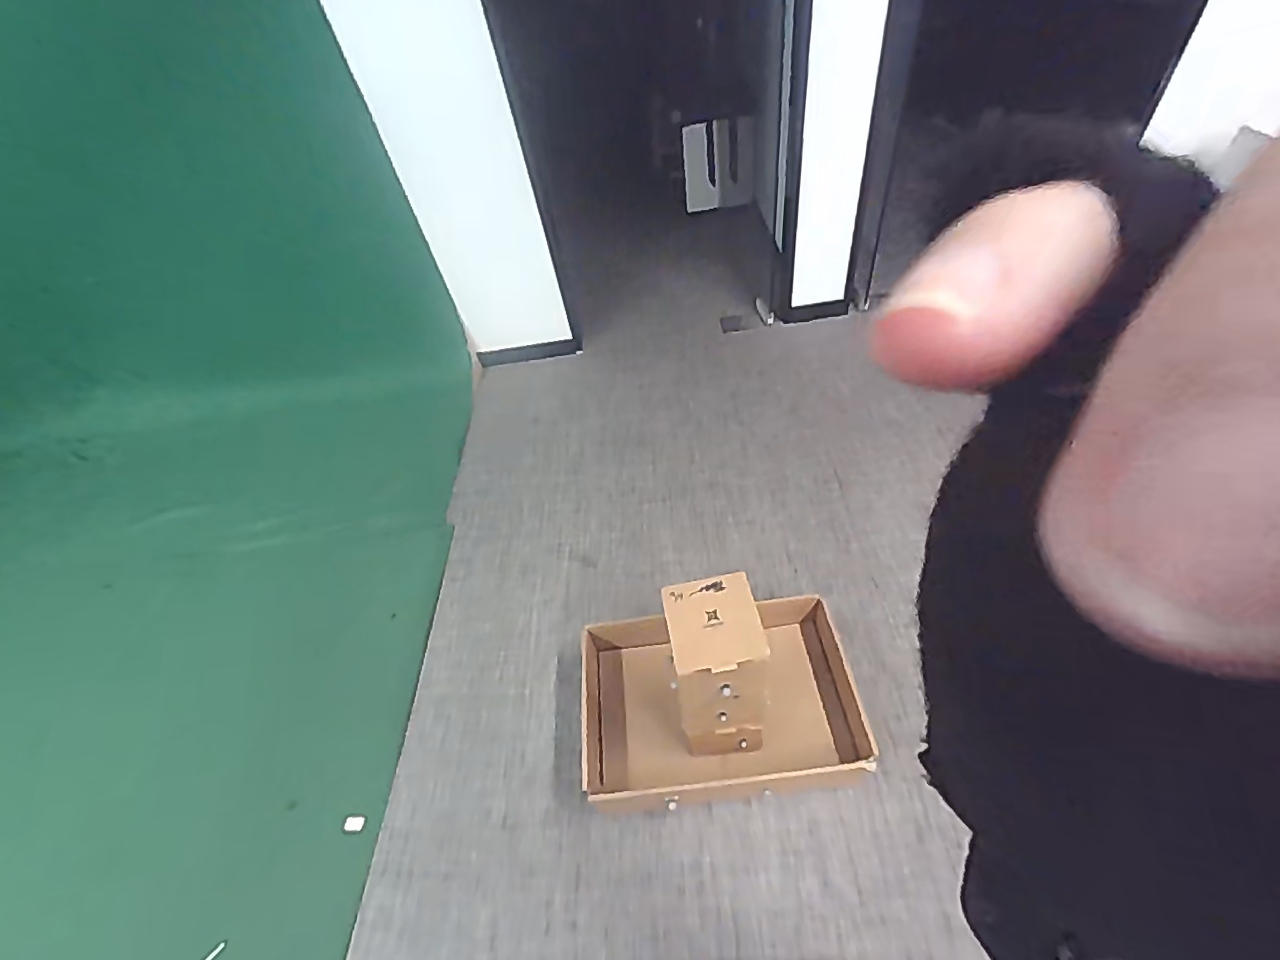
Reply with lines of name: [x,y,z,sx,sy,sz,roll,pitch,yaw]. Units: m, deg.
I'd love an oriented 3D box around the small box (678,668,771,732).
small box: [0.165,0.417,1.152,0.179,0.176,0.168,-11,48,0]

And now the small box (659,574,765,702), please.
small box: [0.138,0.308,1.033,0.168,0.176,0.179,-11,48,1]

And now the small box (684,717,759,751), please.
small box: [0.185,0.523,1.275,0.168,0.176,0.179,-7,46,4]
